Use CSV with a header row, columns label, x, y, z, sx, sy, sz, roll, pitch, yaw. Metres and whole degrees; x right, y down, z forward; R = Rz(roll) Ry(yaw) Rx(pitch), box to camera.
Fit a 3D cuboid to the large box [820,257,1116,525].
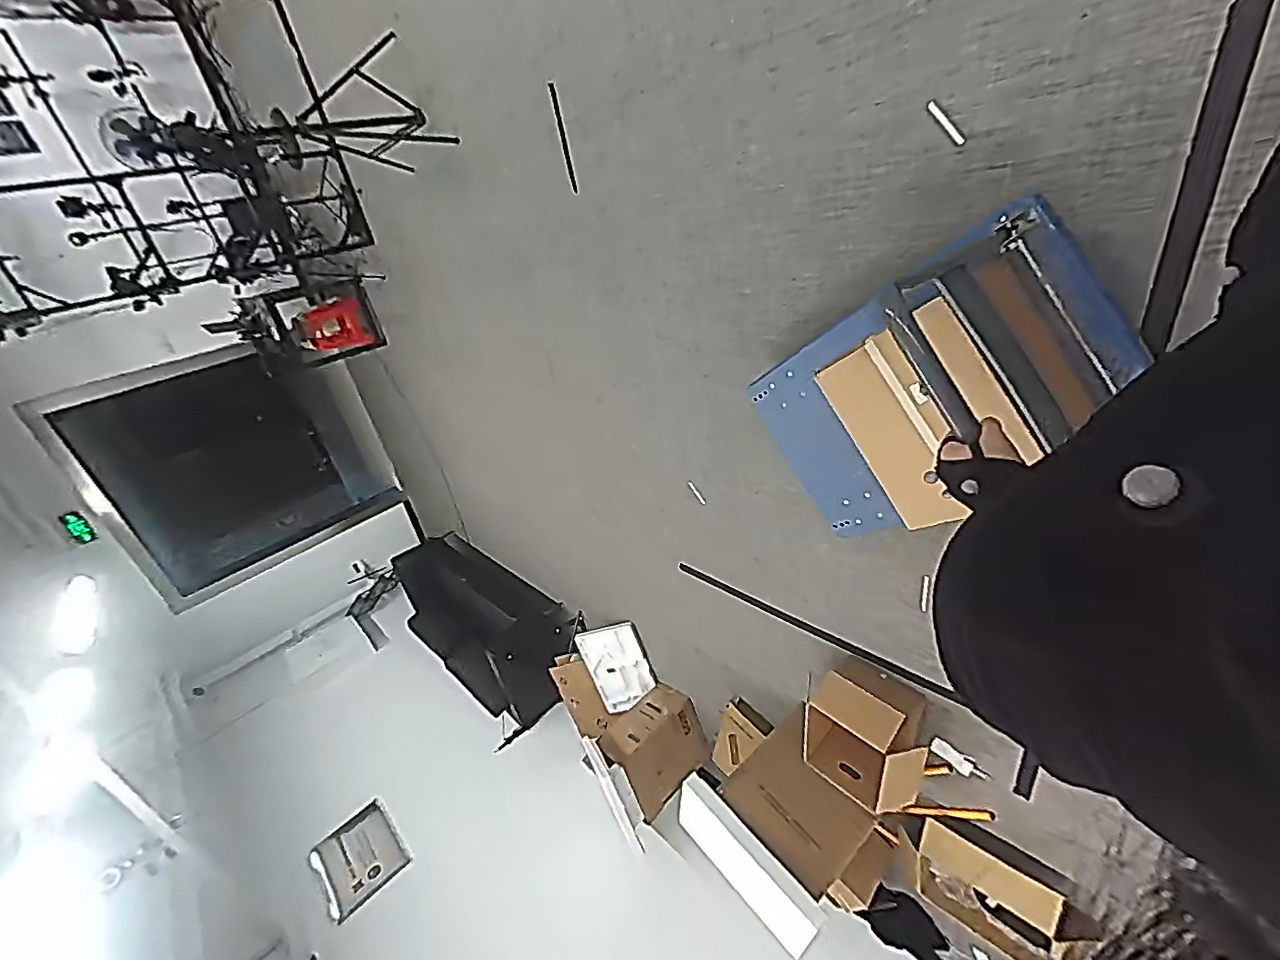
label,x,y,z,sx,sy,sz,roll,pitch,yaw
large box,0.673,-0.177,1.127,0.408,0.320,0.320,59,147,2
